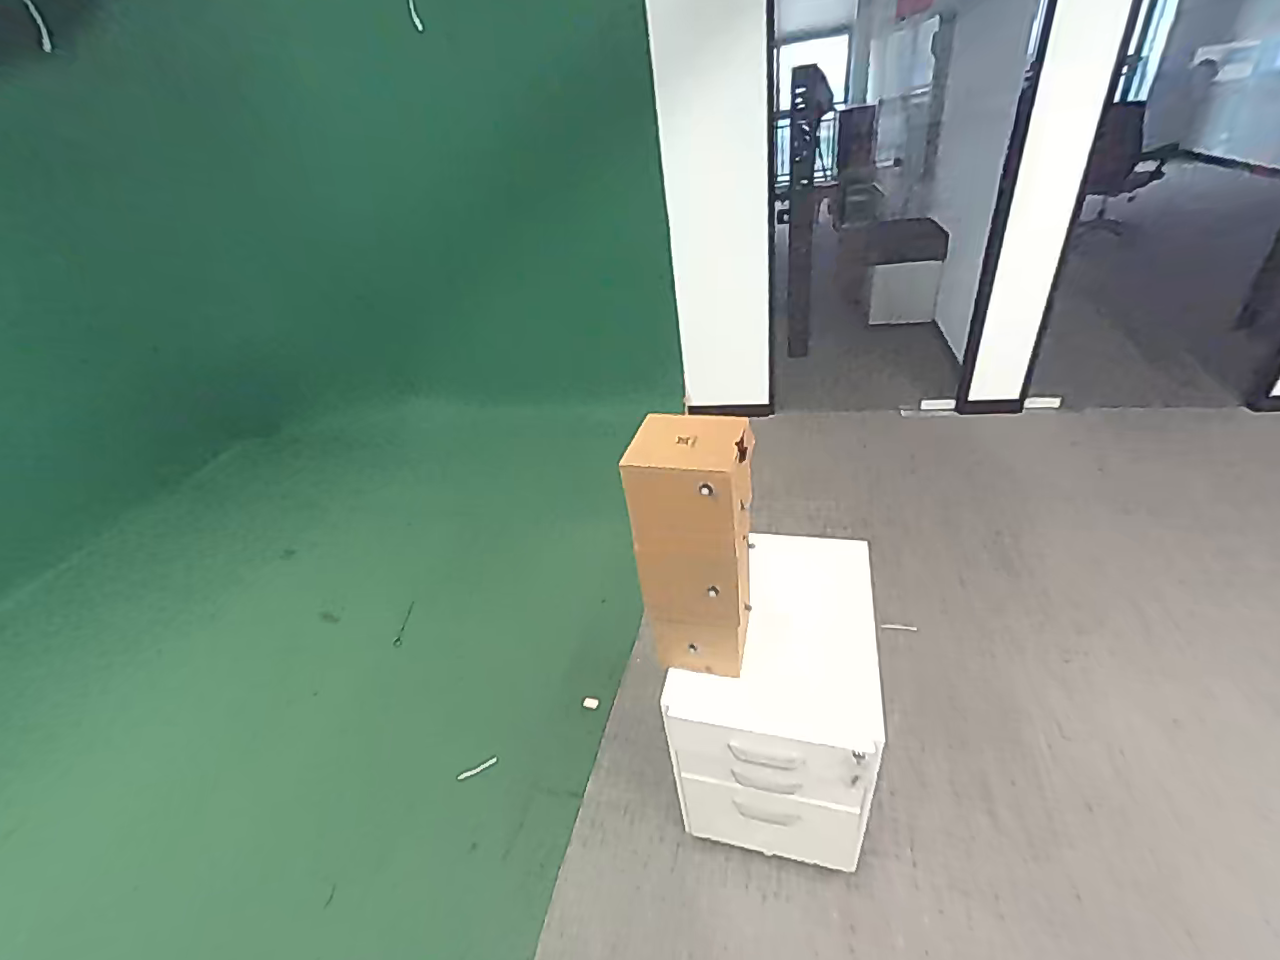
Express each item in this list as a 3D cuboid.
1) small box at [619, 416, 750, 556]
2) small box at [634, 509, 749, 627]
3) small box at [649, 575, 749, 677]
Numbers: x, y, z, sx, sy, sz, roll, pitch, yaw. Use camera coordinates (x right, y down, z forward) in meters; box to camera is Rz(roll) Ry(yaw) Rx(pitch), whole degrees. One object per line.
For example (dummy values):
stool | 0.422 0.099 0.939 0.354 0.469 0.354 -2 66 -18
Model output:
small box | 0.082 0.008 0.893 0.179 0.176 0.168 5 36 18
small box | 0.103 0.144 0.980 0.179 0.176 0.168 2 35 17
small box | 0.126 0.267 1.084 0.168 0.176 0.179 5 37 17
